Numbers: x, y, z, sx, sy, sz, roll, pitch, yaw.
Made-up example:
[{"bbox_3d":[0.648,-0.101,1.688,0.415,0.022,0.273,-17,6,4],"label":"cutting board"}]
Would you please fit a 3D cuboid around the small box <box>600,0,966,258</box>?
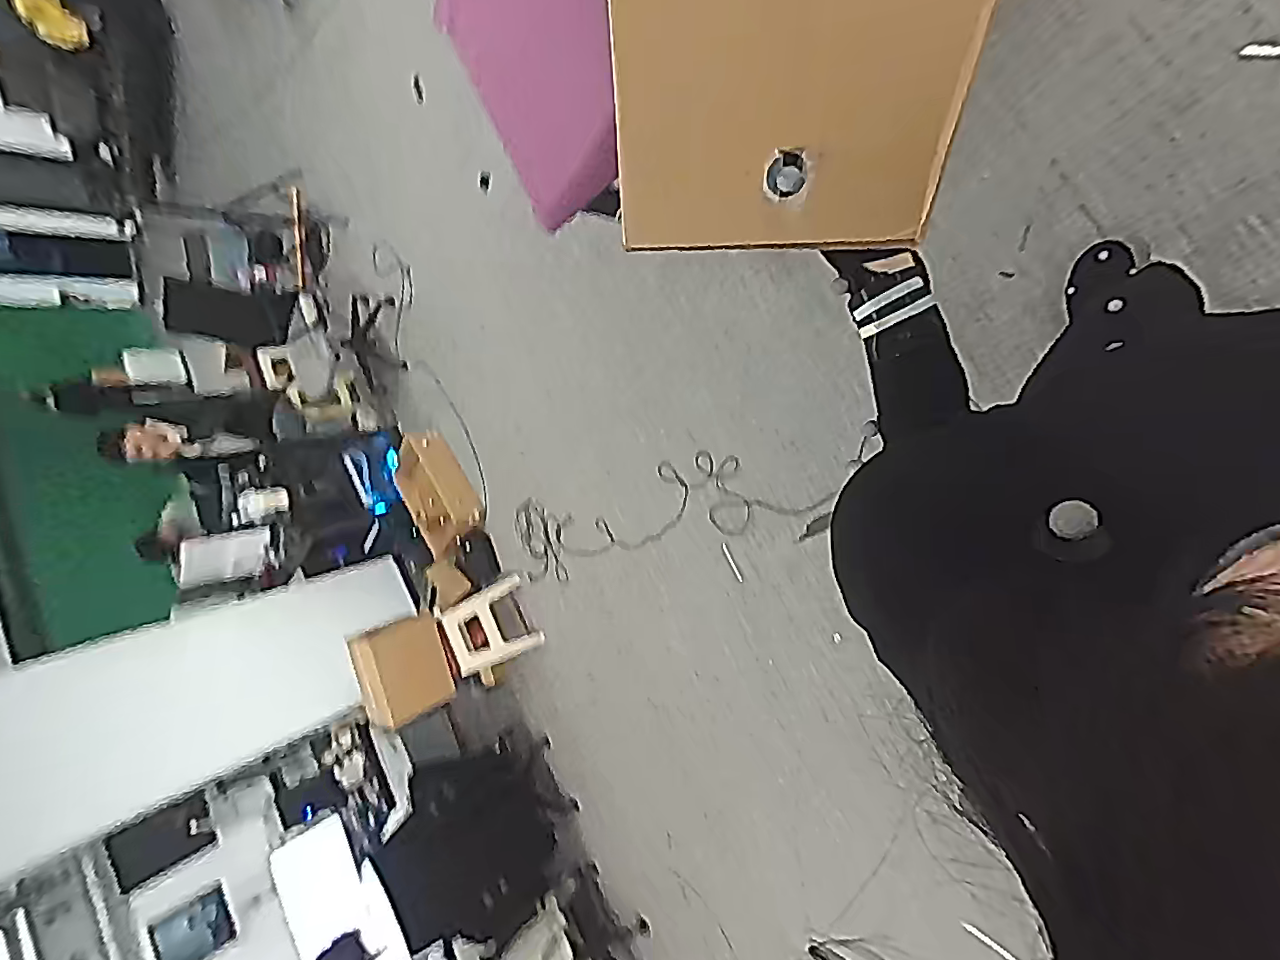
[{"bbox_3d":[0.075,-0.253,0.327,0.179,0.168,0.176,2,132,7],"label":"small box"}]
